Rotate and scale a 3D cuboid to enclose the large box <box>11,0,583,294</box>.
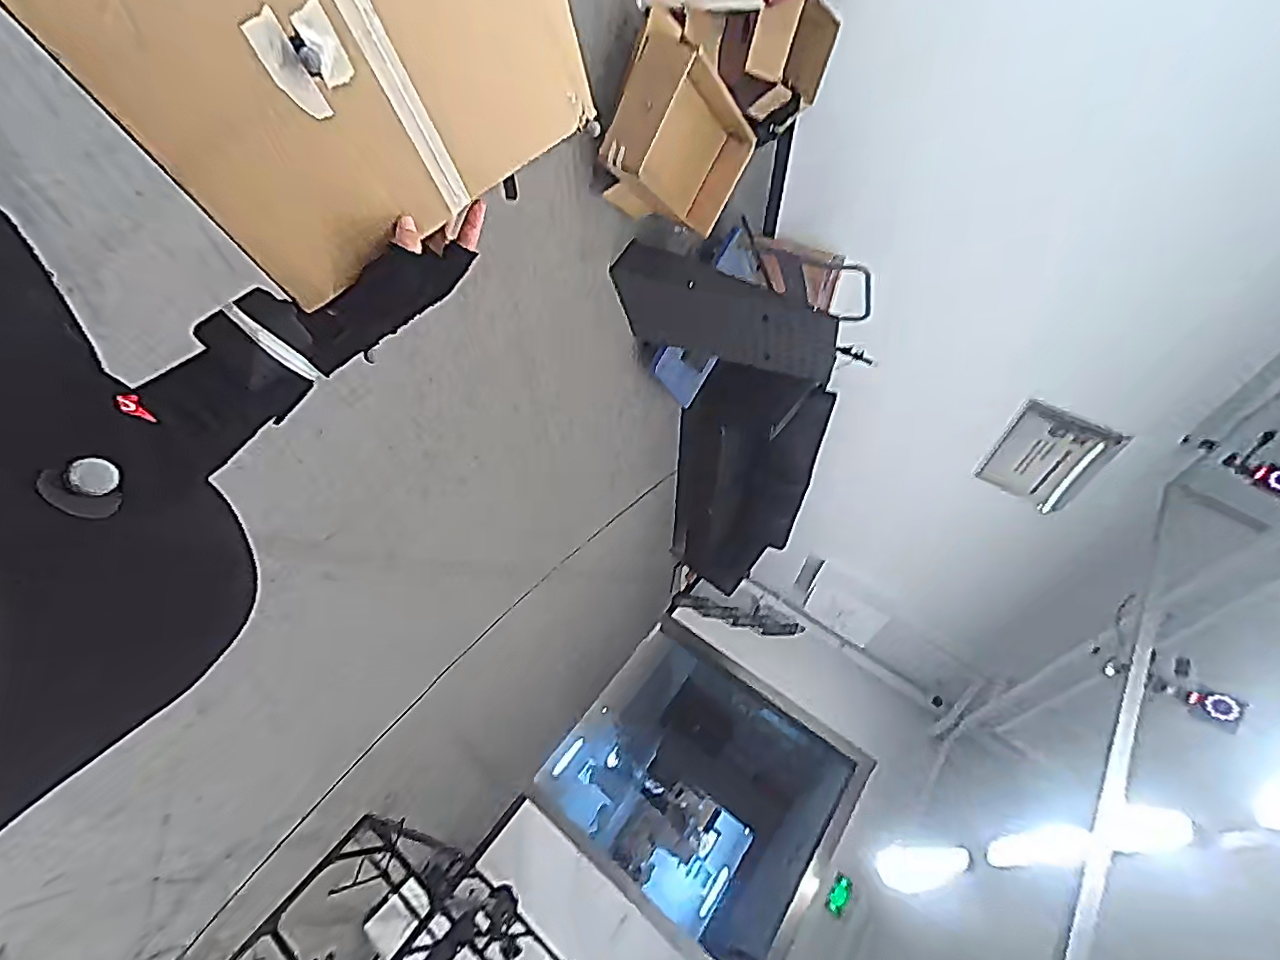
[{"bbox_3d":[-0.298,-0.430,0.373,0.320,0.320,0.408,-40,152,-11],"label":"large box"}]
